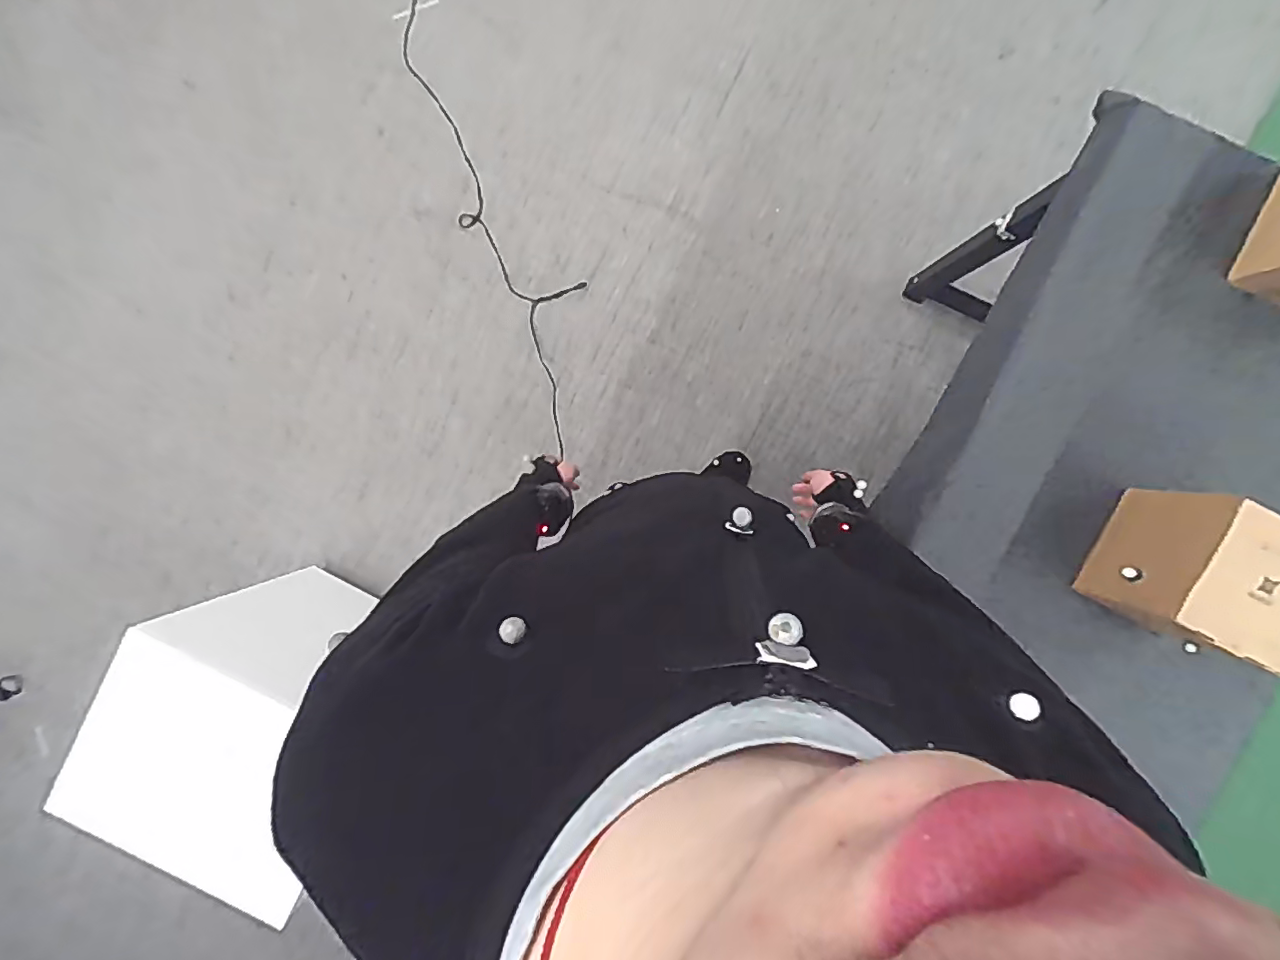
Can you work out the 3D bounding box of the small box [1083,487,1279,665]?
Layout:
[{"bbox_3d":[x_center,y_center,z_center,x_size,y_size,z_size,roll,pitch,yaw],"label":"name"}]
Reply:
[{"bbox_3d":[0.779,0.121,0.754,0.168,0.176,0.179,25,90,-3],"label":"small box"}]
